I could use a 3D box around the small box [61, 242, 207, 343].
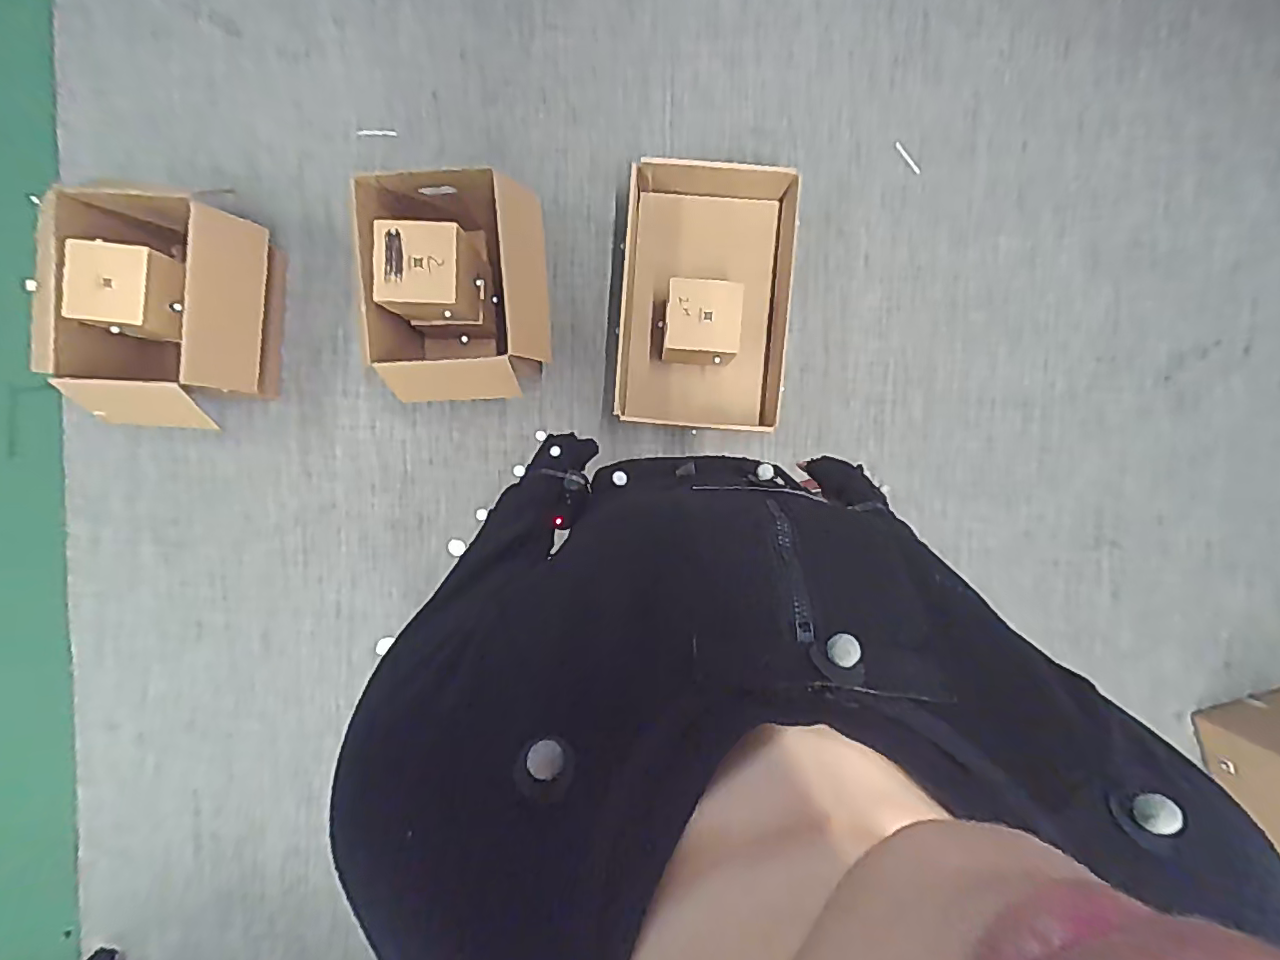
[{"bbox_3d":[-1.121,-0.411,1.211,0.179,0.176,0.168,6,92,0],"label":"small box"}]
